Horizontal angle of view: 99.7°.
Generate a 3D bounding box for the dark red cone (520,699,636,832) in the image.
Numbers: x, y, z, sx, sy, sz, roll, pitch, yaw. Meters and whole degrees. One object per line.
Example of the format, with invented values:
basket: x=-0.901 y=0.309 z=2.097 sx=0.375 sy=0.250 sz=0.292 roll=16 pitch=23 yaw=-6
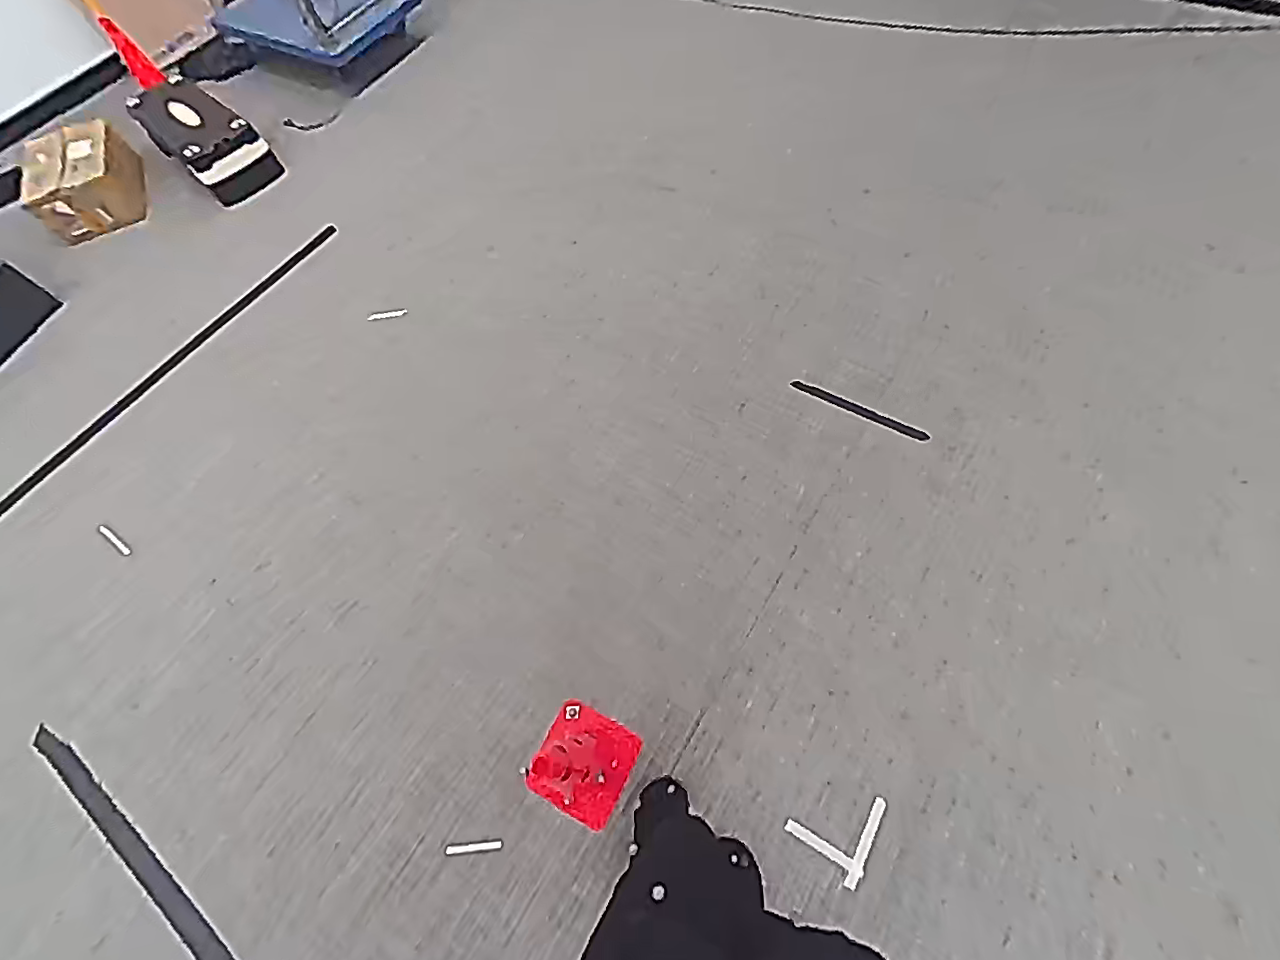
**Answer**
dark red cone: x=-0.144 y=0.524 z=0.989 sx=0.202 sy=0.394 sz=0.201 roll=22 pitch=69 yaw=16
